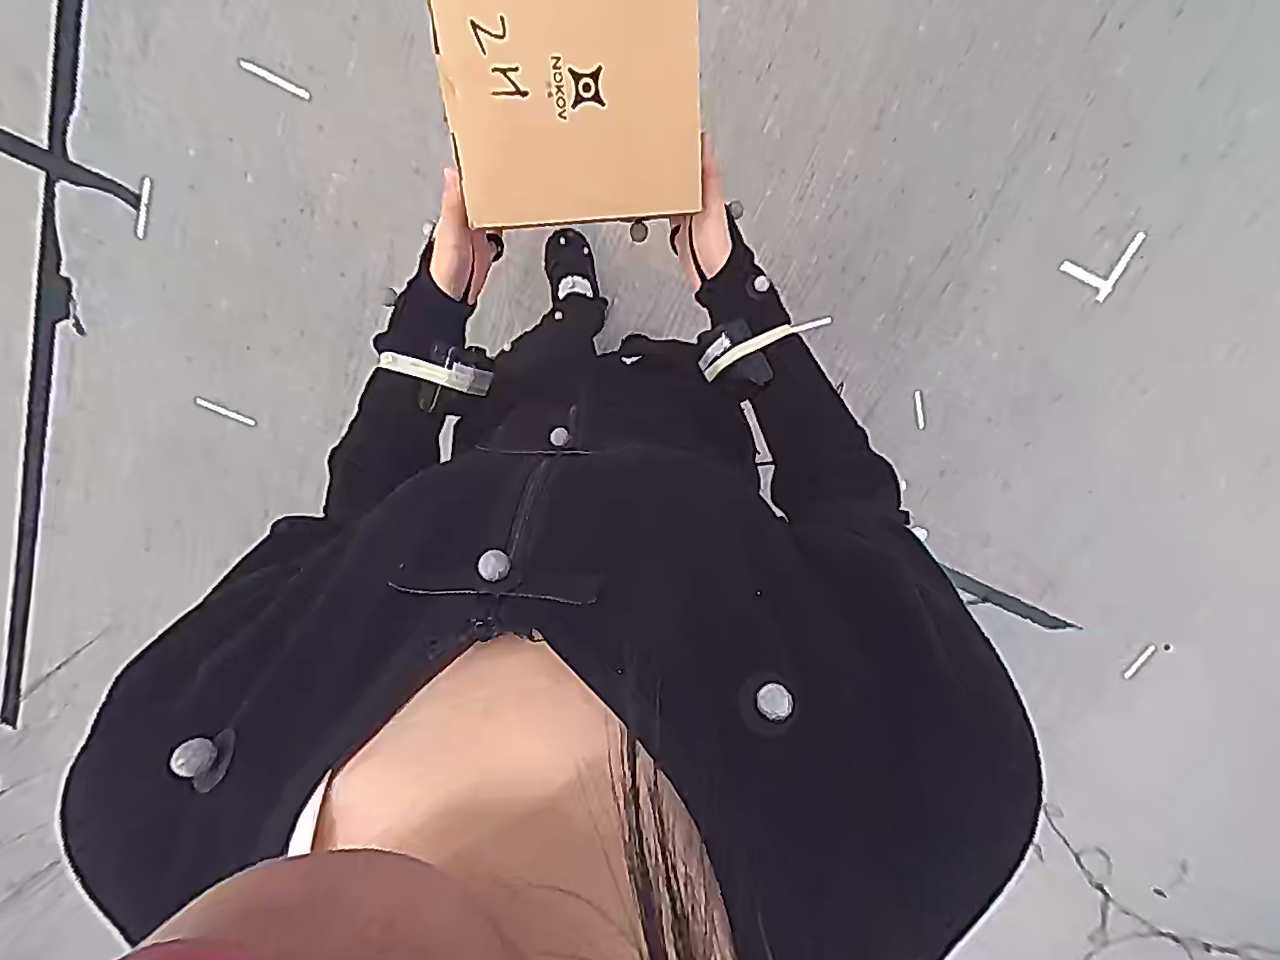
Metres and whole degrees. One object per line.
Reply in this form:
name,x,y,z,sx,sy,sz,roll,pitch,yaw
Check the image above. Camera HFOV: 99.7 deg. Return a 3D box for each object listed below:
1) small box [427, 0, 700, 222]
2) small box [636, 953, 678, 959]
small box,-0.055,-0.304,0.437,0.179,0.176,0.168,-5,115,-4
small box,0.054,1.077,1.056,0.179,0.176,0.168,21,107,-8
